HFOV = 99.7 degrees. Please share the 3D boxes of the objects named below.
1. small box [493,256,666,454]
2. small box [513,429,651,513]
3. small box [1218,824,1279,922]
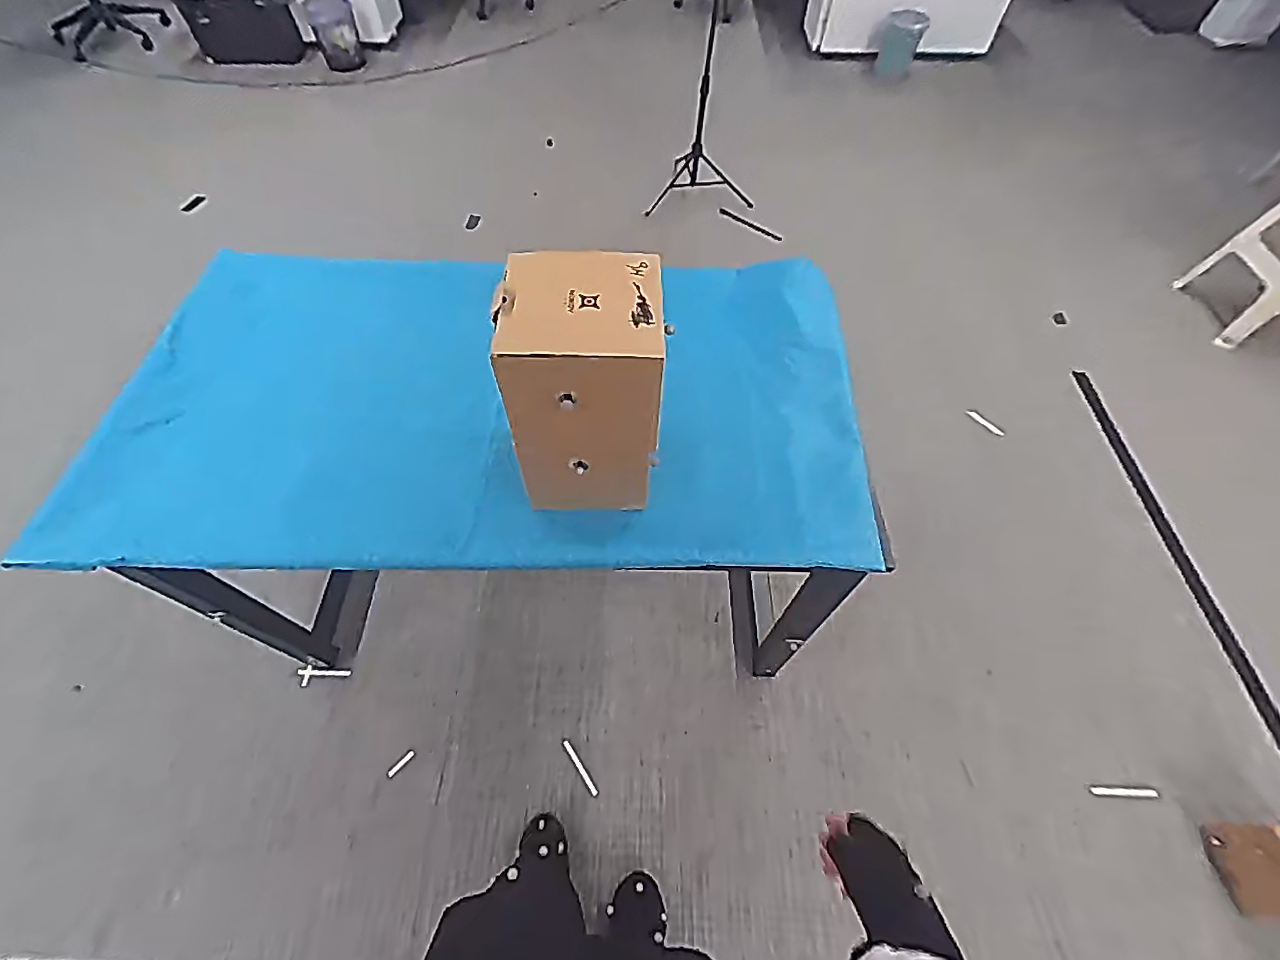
[{"bbox_3d":[-0.064,-0.142,0.645,0.179,0.176,0.168,-2,58,-3],"label":"small box"},{"bbox_3d":[-0.072,-0.062,0.786,0.179,0.176,0.168,1,58,0],"label":"small box"},{"bbox_3d":[1.357,0.801,1.100,0.179,0.176,0.168,1,58,-1],"label":"small box"}]
